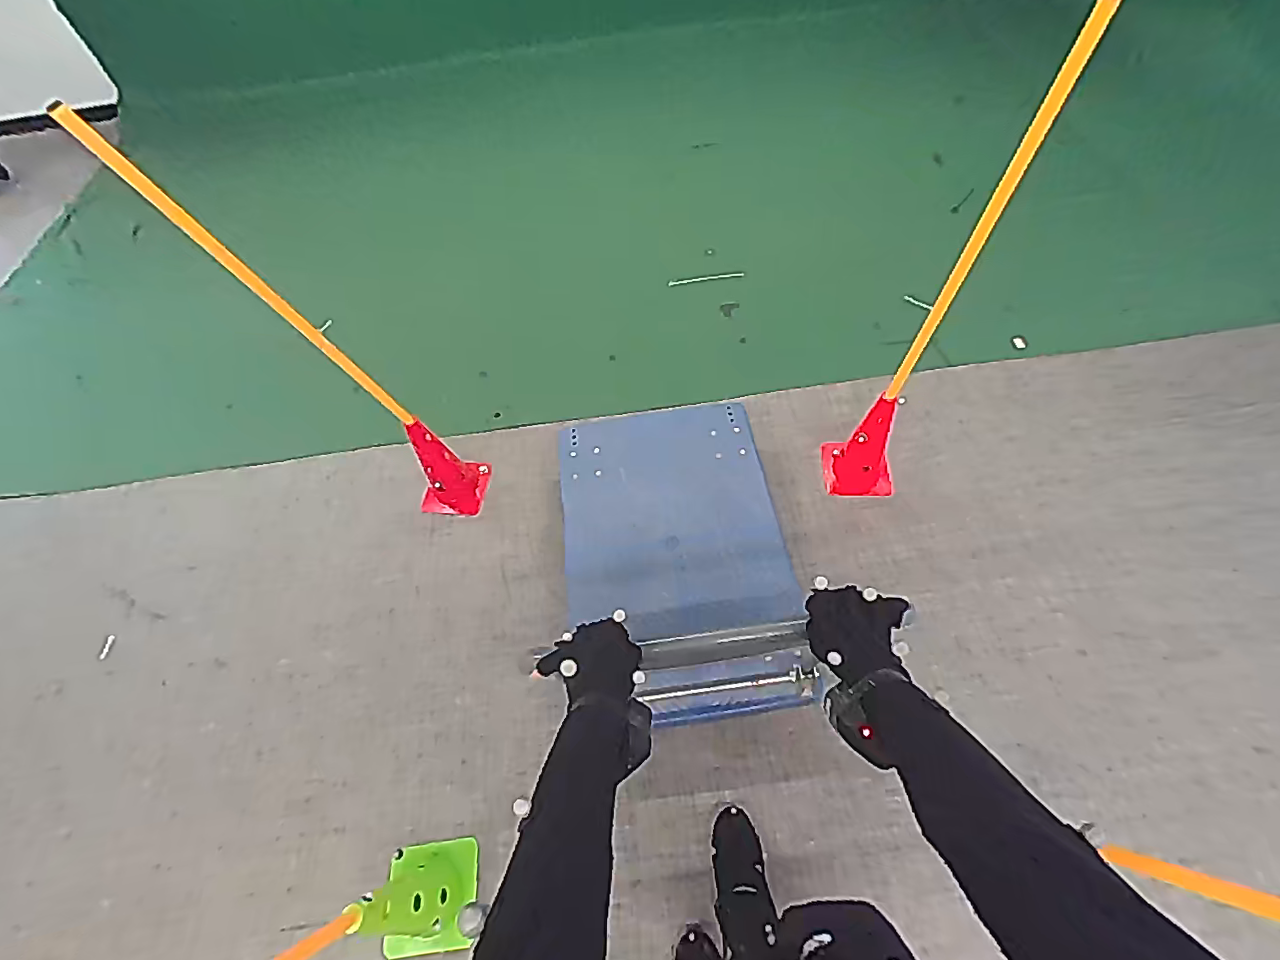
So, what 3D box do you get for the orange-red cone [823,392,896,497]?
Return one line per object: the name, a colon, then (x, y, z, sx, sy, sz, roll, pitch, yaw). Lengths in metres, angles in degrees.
orange-red cone: (0.669, -0.123, 1.562, 0.198, 0.360, 0.199, 2, 59, 7)
